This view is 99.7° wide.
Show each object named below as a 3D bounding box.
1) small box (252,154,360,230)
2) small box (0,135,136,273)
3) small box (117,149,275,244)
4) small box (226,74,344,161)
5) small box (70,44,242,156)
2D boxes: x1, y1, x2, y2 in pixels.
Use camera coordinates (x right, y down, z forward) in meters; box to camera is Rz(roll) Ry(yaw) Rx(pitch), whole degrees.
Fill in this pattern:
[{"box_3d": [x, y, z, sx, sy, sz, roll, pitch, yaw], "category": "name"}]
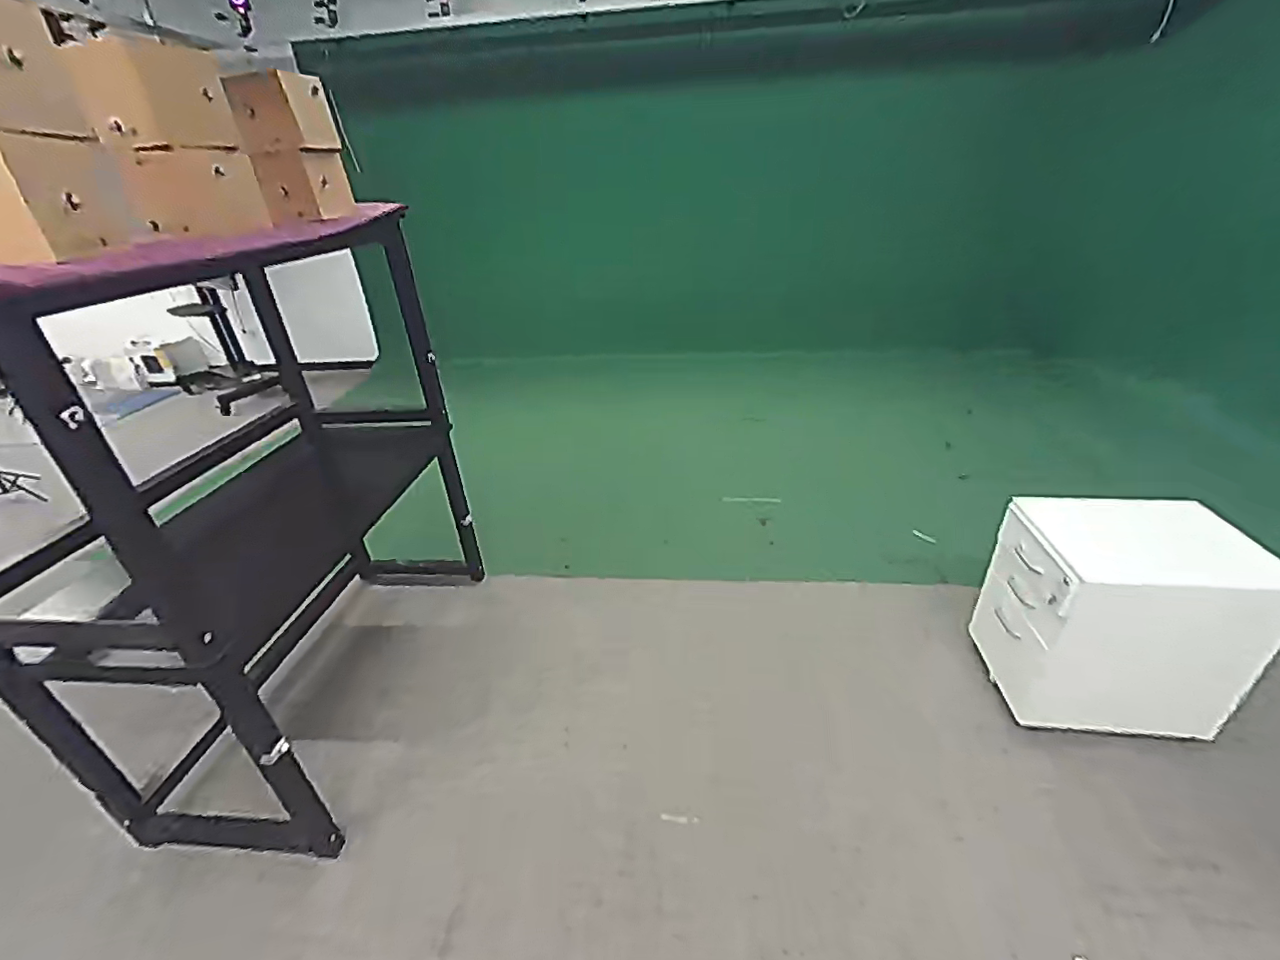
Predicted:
[{"box_3d": [-0.912, -0.795, 1.495, 0.168, 0.176, 0.179, -2, 31, 8], "category": "small box"}, {"box_3d": [-0.937, -0.414, 0.818, 0.179, 0.176, 0.168, -6, 28, -5], "category": "small box"}, {"box_3d": [-0.939, -0.606, 1.166, 0.168, 0.176, 0.179, 1, 29, 7], "category": "small box"}, {"box_3d": [-0.915, -0.936, 1.412, 0.168, 0.176, 0.179, -2, 30, 8], "category": "small box"}, {"box_3d": [-0.947, -0.746, 1.083, 0.168, 0.176, 0.179, 5, 31, 16], "category": "small box"}]
